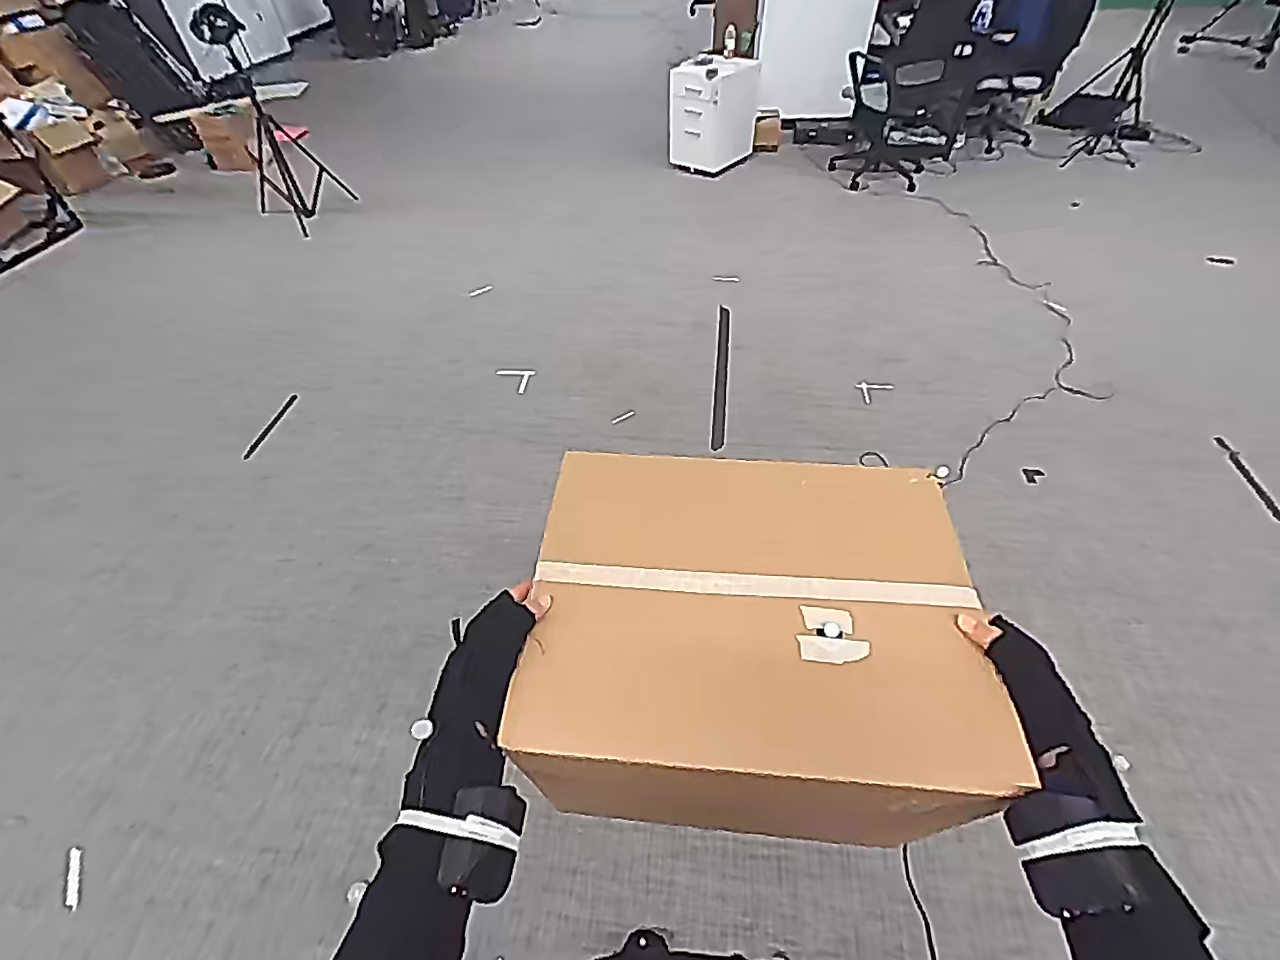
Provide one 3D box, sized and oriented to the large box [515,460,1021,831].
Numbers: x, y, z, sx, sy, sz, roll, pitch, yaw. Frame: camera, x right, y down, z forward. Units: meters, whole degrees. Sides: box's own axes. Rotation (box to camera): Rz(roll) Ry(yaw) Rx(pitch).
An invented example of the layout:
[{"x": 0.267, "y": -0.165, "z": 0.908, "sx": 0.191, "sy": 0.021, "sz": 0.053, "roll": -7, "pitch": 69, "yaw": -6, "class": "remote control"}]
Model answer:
[{"x": 0.107, "y": 0.196, "z": 0.630, "sx": 0.408, "sy": 0.320, "sz": 0.320, "roll": 3, "pitch": 52, "yaw": 4, "class": "large box"}]
